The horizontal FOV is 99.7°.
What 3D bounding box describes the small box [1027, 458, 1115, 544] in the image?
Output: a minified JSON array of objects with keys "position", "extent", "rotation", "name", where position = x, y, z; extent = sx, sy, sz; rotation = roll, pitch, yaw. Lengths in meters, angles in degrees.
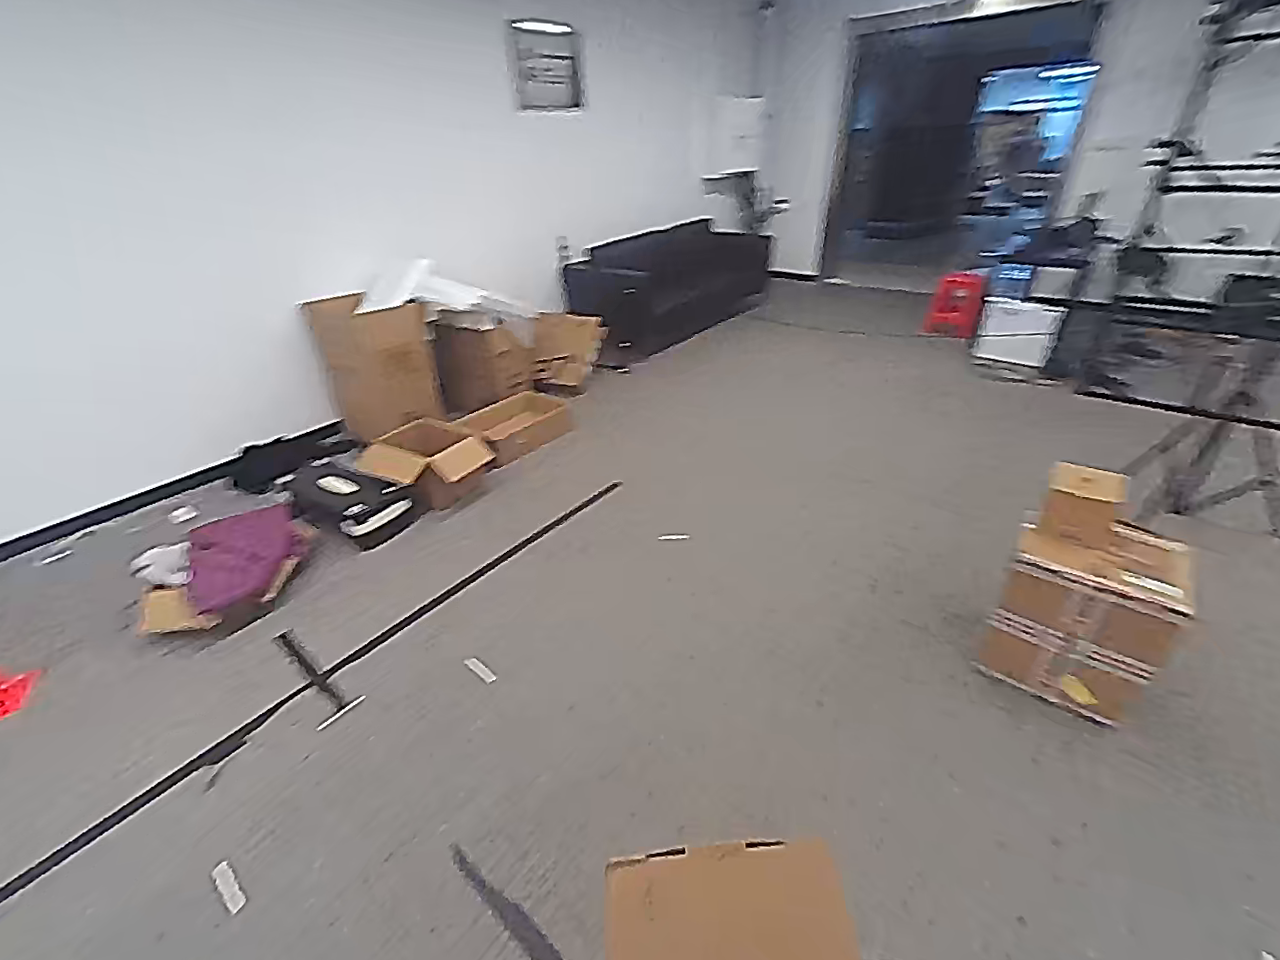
[{"position":[1.296,0.063,1.630],"extent":[0.168,0.176,0.179],"rotation":[19,41,34],"name":"small box"}]
